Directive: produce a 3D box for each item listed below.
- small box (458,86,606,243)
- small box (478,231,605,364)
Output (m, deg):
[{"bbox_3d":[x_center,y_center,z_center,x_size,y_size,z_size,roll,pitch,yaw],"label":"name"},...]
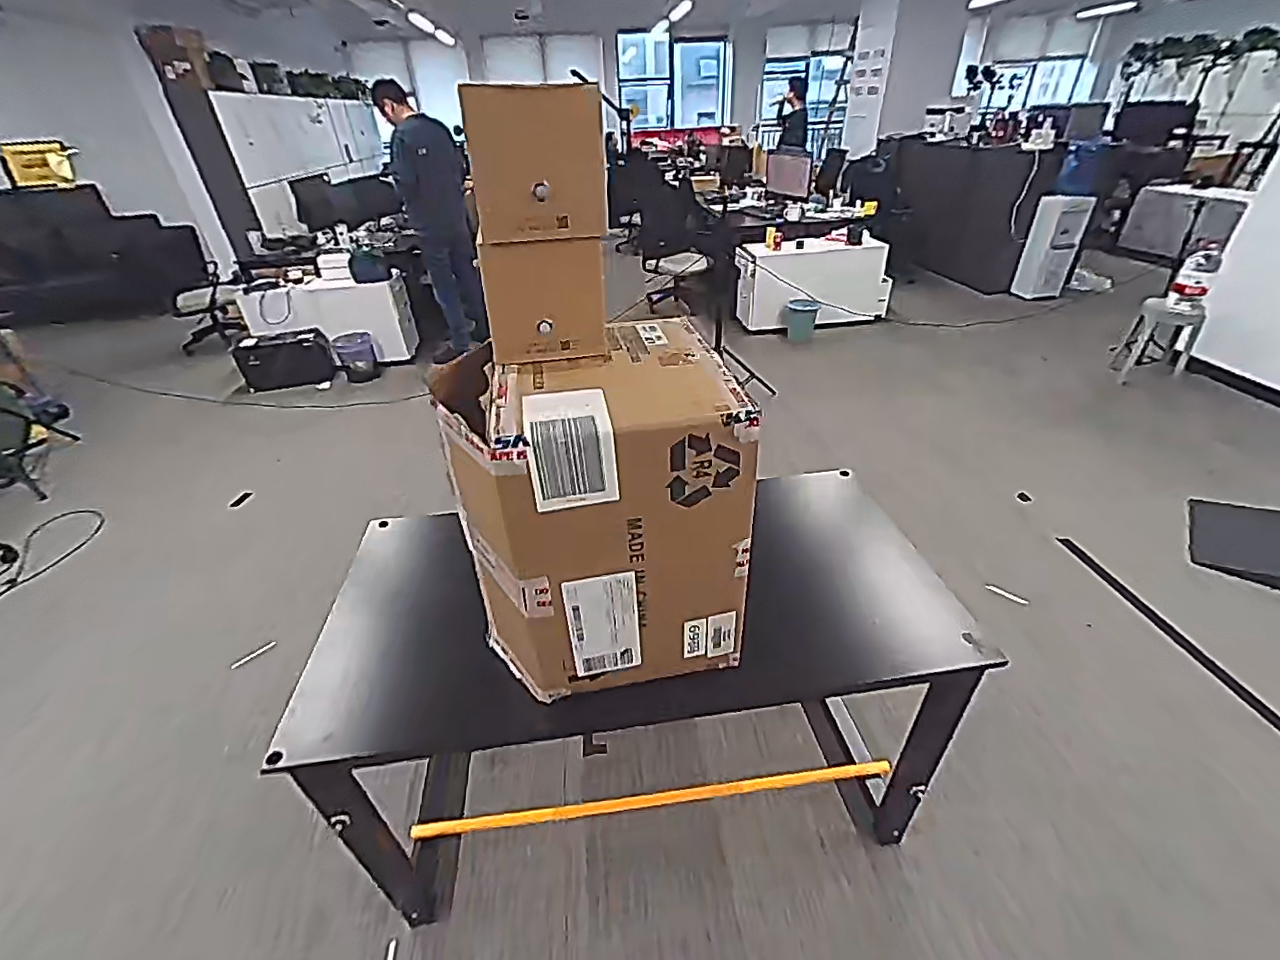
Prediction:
[{"bbox_3d":[-0.145,-0.425,0.737,0.168,0.176,0.179,-9,33,-11],"label":"small box"},{"bbox_3d":[-0.149,-0.289,0.831,0.168,0.176,0.179,-8,33,-10],"label":"small box"}]
